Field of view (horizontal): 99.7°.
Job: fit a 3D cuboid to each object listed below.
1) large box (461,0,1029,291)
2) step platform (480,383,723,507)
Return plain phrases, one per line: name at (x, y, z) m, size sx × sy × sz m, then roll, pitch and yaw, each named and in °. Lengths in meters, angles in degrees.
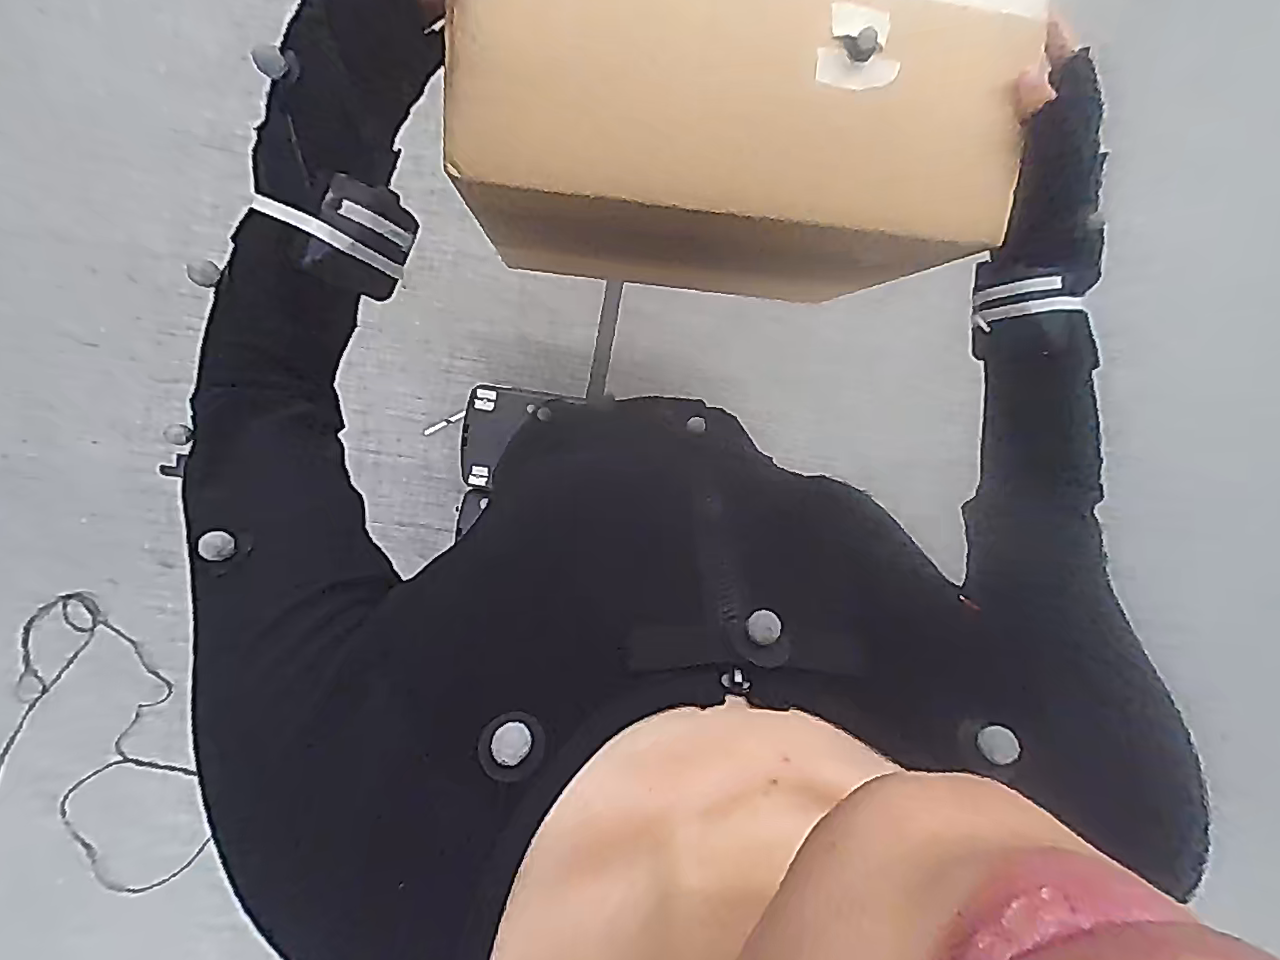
large box at (0.064, -0.376, 0.510) m, size 0.408 × 0.320 × 0.320 m, roll 3°, pitch 101°, yaw -8°
step platform at (-0.108, -0.098, 1.556) m, size 0.684 × 0.204 × 0.286 m, roll 6°, pitch 96°, yaw -8°
